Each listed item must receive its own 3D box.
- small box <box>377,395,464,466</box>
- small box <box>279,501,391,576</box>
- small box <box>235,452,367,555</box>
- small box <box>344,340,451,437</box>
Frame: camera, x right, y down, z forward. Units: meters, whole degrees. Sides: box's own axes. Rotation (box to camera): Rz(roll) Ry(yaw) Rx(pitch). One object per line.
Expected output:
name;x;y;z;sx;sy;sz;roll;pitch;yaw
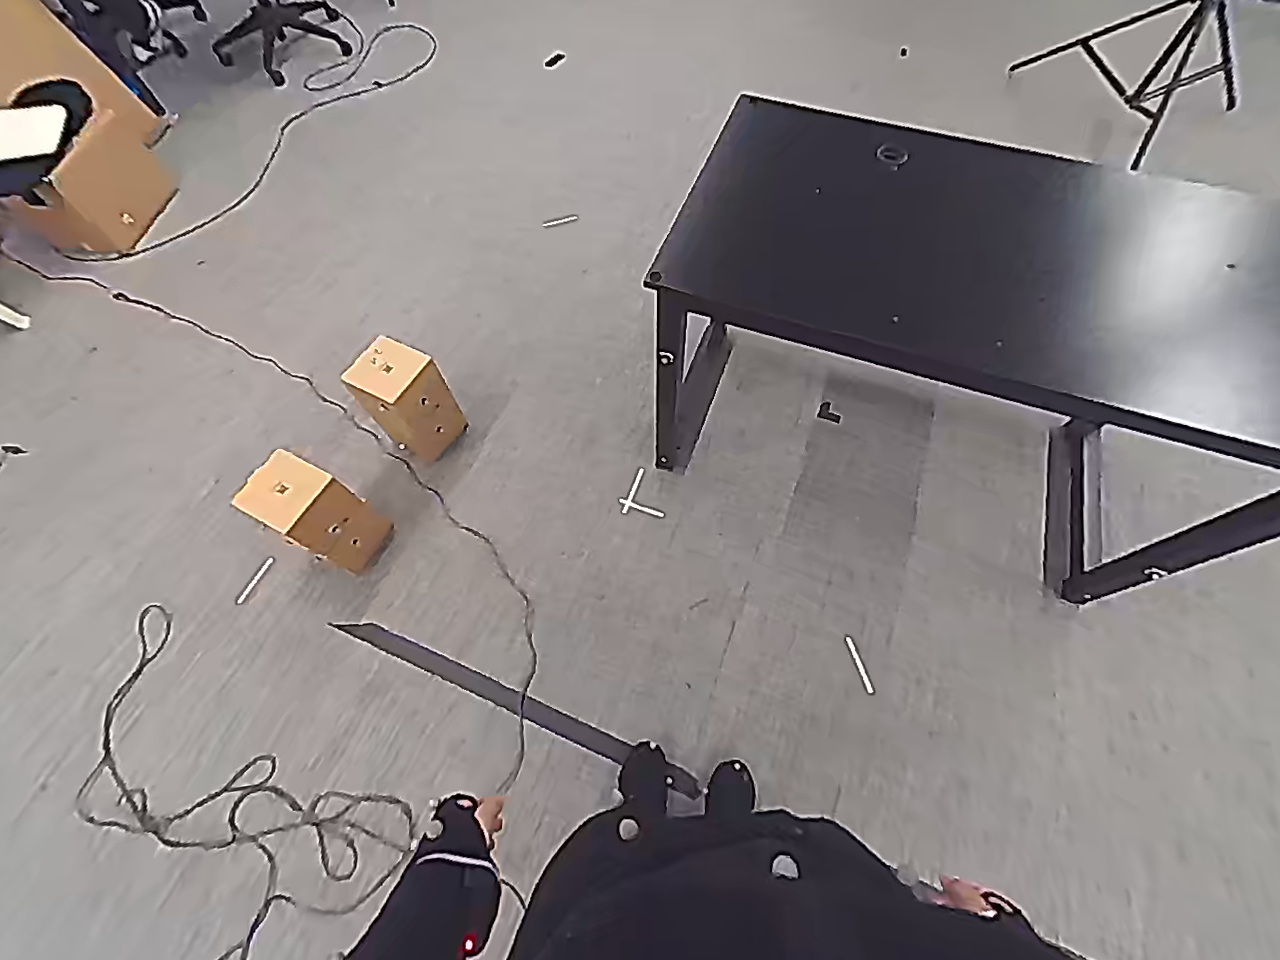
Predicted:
small box;-0.654;-0.176;1.627;0.168;0.176;0.179;27;68;15
small box;-0.818;0.141;1.476;0.168;0.176;0.179;20;67;11
small box;-0.823;0.064;1.331;0.179;0.176;0.168;24;68;12
small box;-0.650;-0.242;1.475;0.179;0.176;0.168;24;65;13
